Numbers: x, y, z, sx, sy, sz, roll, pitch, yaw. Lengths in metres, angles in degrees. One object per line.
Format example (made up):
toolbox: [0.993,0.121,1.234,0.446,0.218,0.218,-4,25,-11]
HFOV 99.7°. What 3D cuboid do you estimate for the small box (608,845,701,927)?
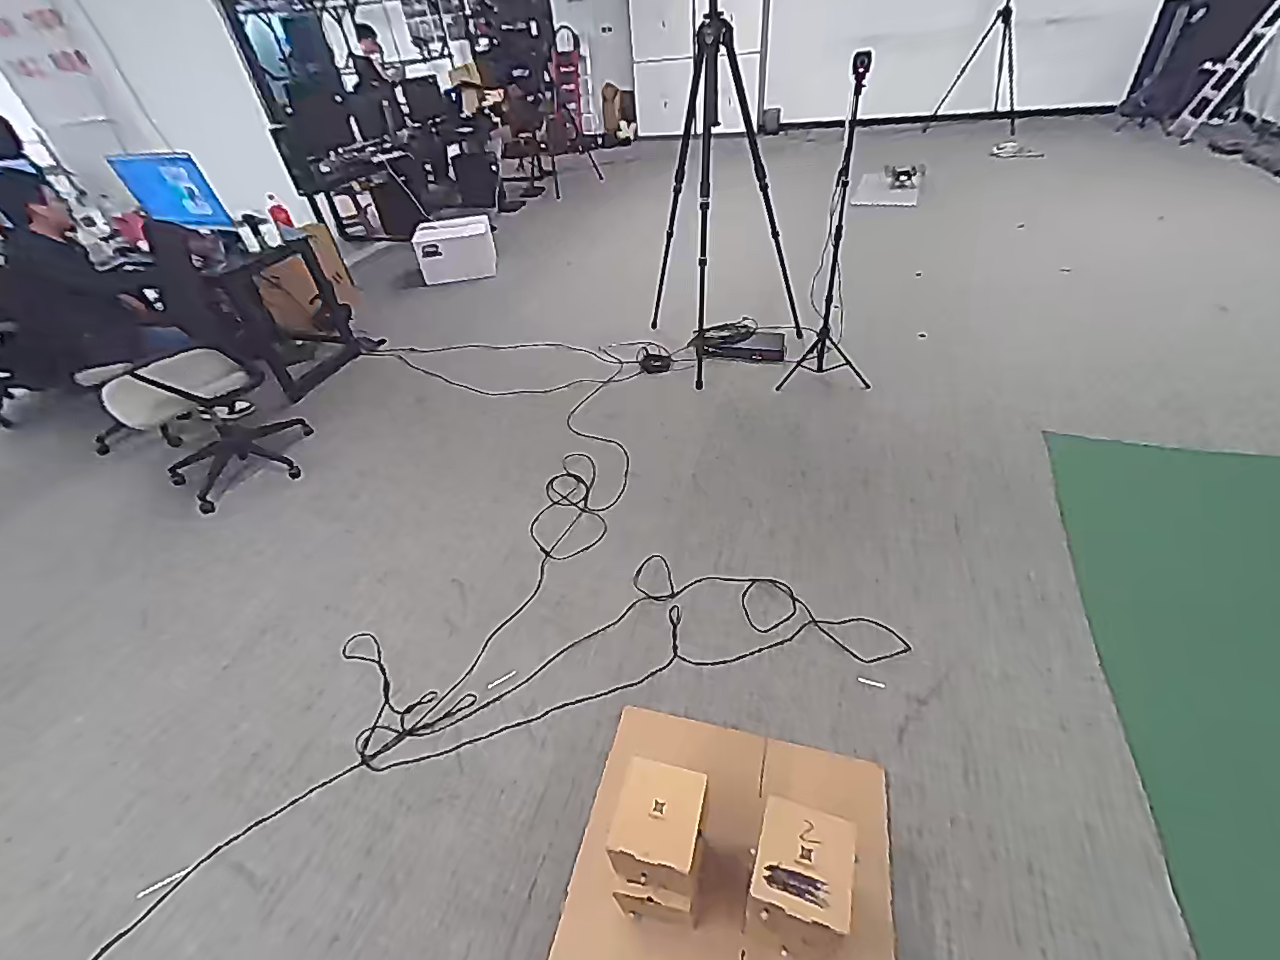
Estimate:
small box: [0.041,0.845,1.189,0.168,0.176,0.179,5,42,14]

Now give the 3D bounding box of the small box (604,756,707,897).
small box: [0.038,0.704,1.101,0.168,0.176,0.179,7,42,16]

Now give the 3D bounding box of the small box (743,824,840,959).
small box: [0.312,0.867,1.128,0.168,0.176,0.179,9,44,19]
